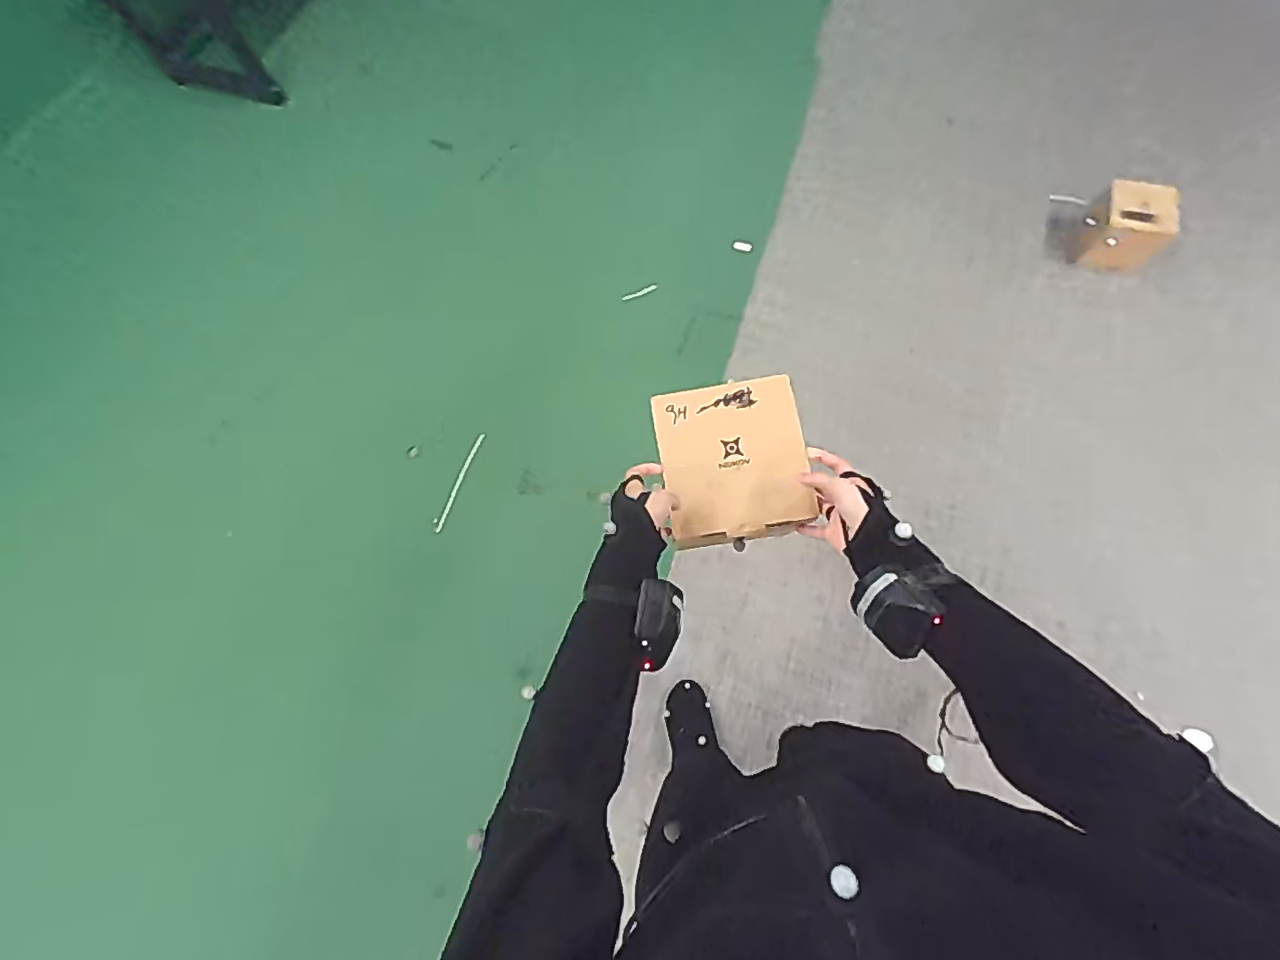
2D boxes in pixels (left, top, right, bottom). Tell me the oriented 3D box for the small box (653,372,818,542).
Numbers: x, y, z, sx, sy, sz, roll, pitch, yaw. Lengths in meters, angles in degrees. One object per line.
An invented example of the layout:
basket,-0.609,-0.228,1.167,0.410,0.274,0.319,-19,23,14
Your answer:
small box,0.113,-0.016,0.690,0.168,0.176,0.179,-8,79,3
